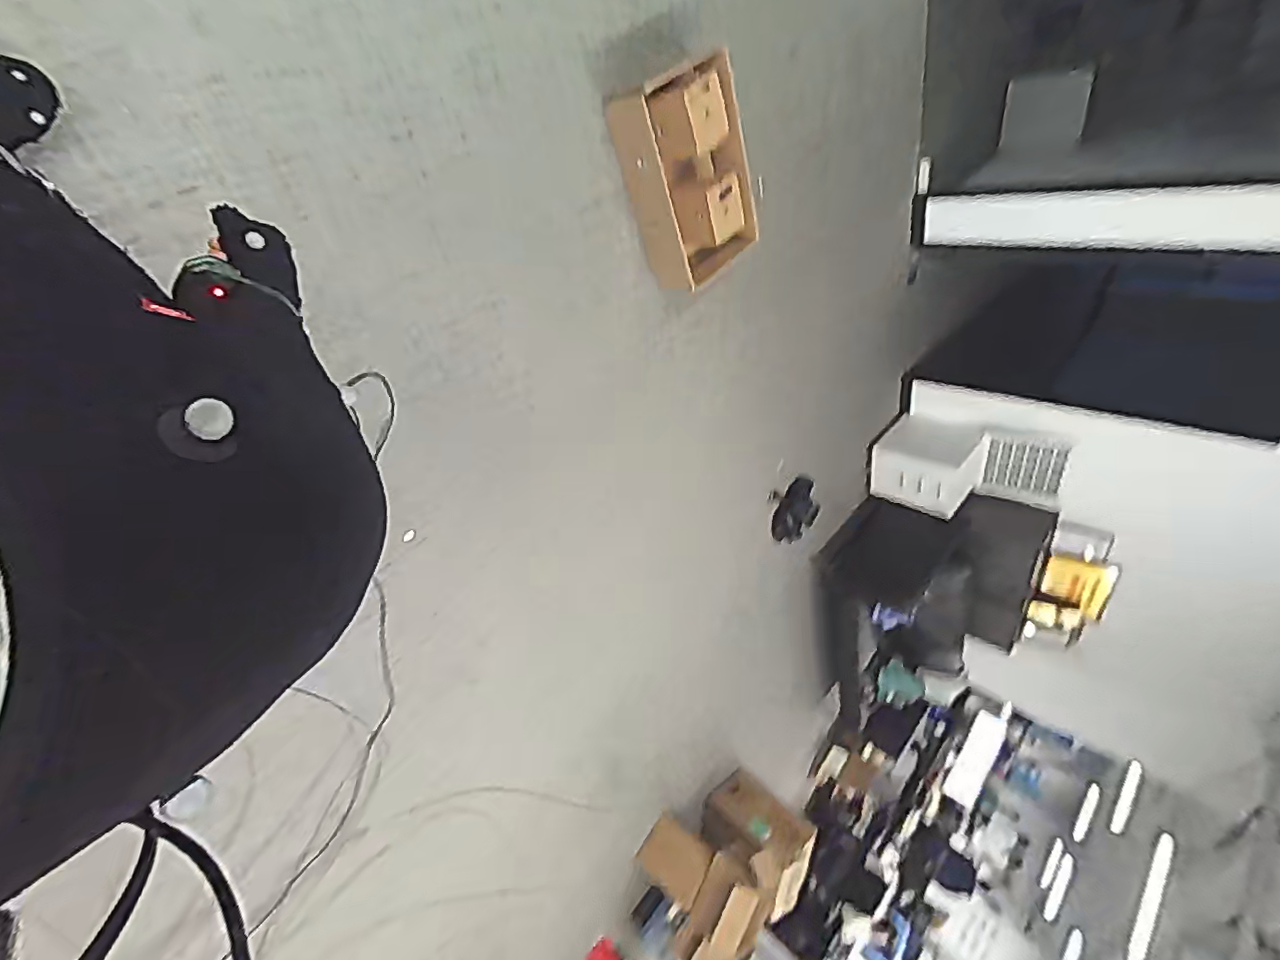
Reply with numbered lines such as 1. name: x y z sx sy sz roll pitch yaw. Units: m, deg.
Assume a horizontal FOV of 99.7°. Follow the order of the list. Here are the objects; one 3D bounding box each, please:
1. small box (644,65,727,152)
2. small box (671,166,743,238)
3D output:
1. small box: 0.141 -1.143 1.674 0.168 0.176 0.179 -48 137 -21
2. small box: 0.228 -0.950 1.858 0.168 0.176 0.179 -43 134 -24
